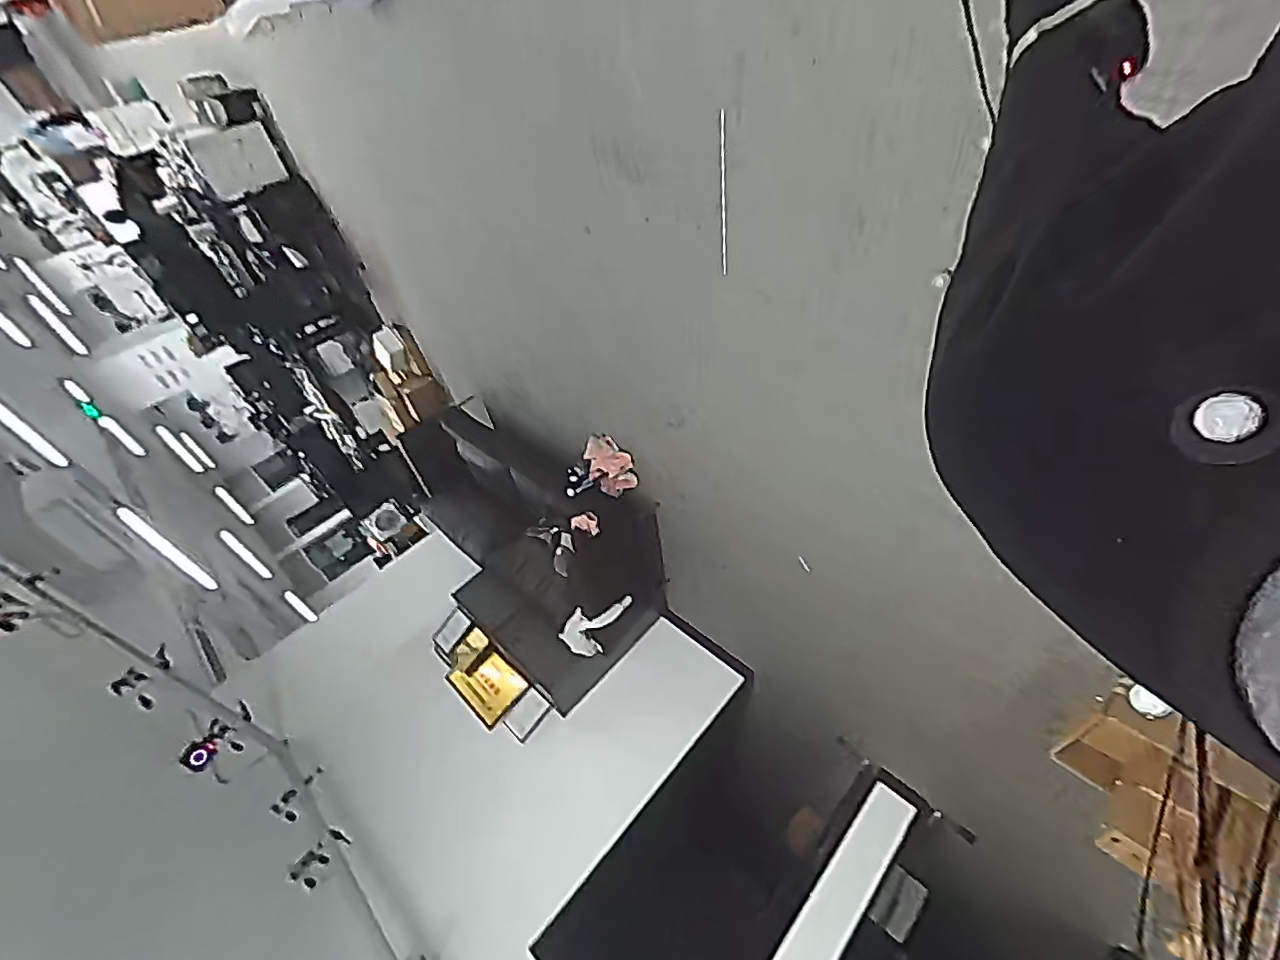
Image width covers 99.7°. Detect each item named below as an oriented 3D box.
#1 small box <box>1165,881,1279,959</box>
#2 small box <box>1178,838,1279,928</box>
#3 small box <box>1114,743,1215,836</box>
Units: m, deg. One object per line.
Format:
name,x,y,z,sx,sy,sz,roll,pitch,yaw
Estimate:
small box,1.568,1.228,1.450,0.168,0.176,0.179,28,145,39
small box,1.691,1.152,1.526,0.179,0.176,0.168,30,146,36
small box,1.665,0.980,1.715,0.168,0.176,0.179,30,146,31
